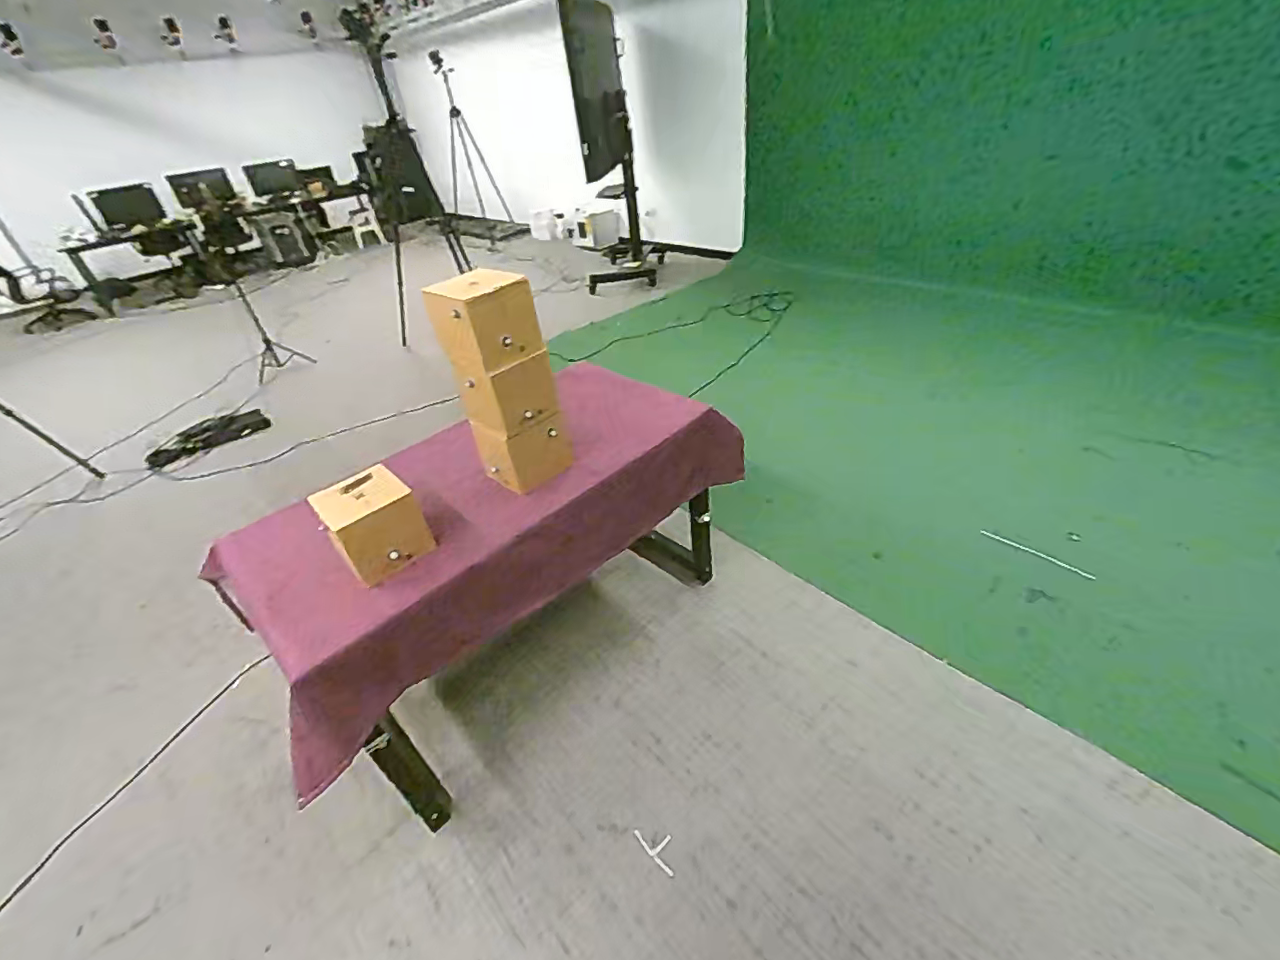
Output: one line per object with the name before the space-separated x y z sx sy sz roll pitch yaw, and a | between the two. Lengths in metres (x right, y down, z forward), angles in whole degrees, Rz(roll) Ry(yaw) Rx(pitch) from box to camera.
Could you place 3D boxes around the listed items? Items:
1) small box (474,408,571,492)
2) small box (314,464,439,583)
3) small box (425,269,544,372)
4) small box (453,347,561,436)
small box | -0.295 -0.098 1.402 0.168 0.176 0.179 26 48 38
small box | -0.578 0.096 1.198 0.168 0.176 0.179 -34 44 -30
small box | -0.343 -0.358 1.212 0.179 0.176 0.168 24 48 35
small box | -0.317 -0.228 1.306 0.179 0.176 0.168 26 49 37
